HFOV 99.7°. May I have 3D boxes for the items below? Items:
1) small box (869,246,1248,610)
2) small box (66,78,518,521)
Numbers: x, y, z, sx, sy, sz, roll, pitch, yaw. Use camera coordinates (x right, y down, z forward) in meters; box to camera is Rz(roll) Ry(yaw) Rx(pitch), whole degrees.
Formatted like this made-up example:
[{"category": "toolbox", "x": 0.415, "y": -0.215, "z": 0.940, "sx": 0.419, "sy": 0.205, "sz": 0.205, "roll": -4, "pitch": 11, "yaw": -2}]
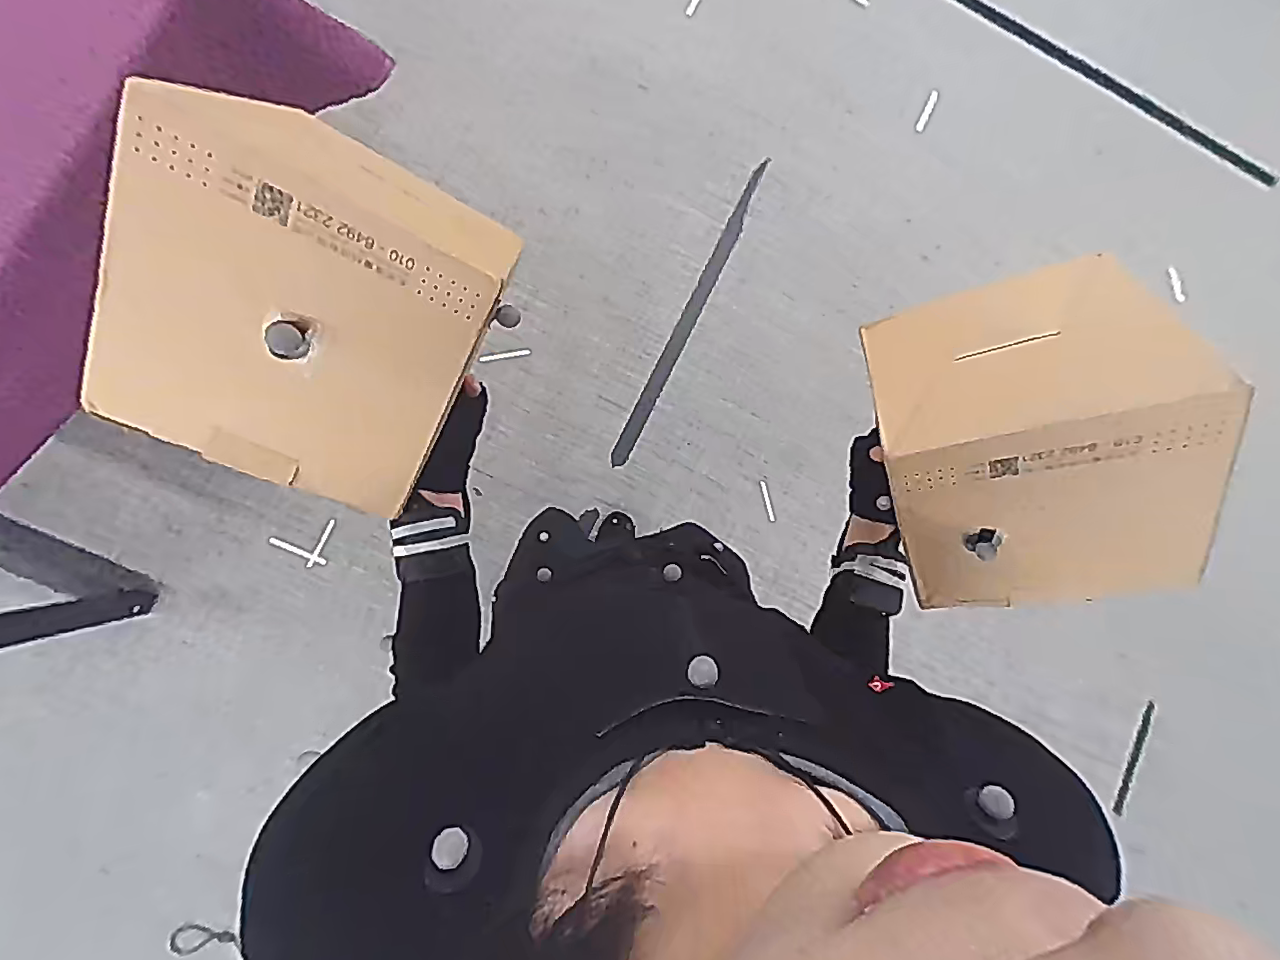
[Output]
[{"category": "small box", "x": 0.270, "y": -0.034, "z": 0.386, "sx": 0.168, "sy": 0.179, "sz": 0.176, "roll": -11, "pitch": 129, "yaw": 24}, {"category": "small box", "x": -0.187, "y": -0.110, "z": 0.336, "sx": 0.168, "sy": 0.179, "sz": 0.176, "roll": 24, "pitch": 113, "yaw": -20}]
